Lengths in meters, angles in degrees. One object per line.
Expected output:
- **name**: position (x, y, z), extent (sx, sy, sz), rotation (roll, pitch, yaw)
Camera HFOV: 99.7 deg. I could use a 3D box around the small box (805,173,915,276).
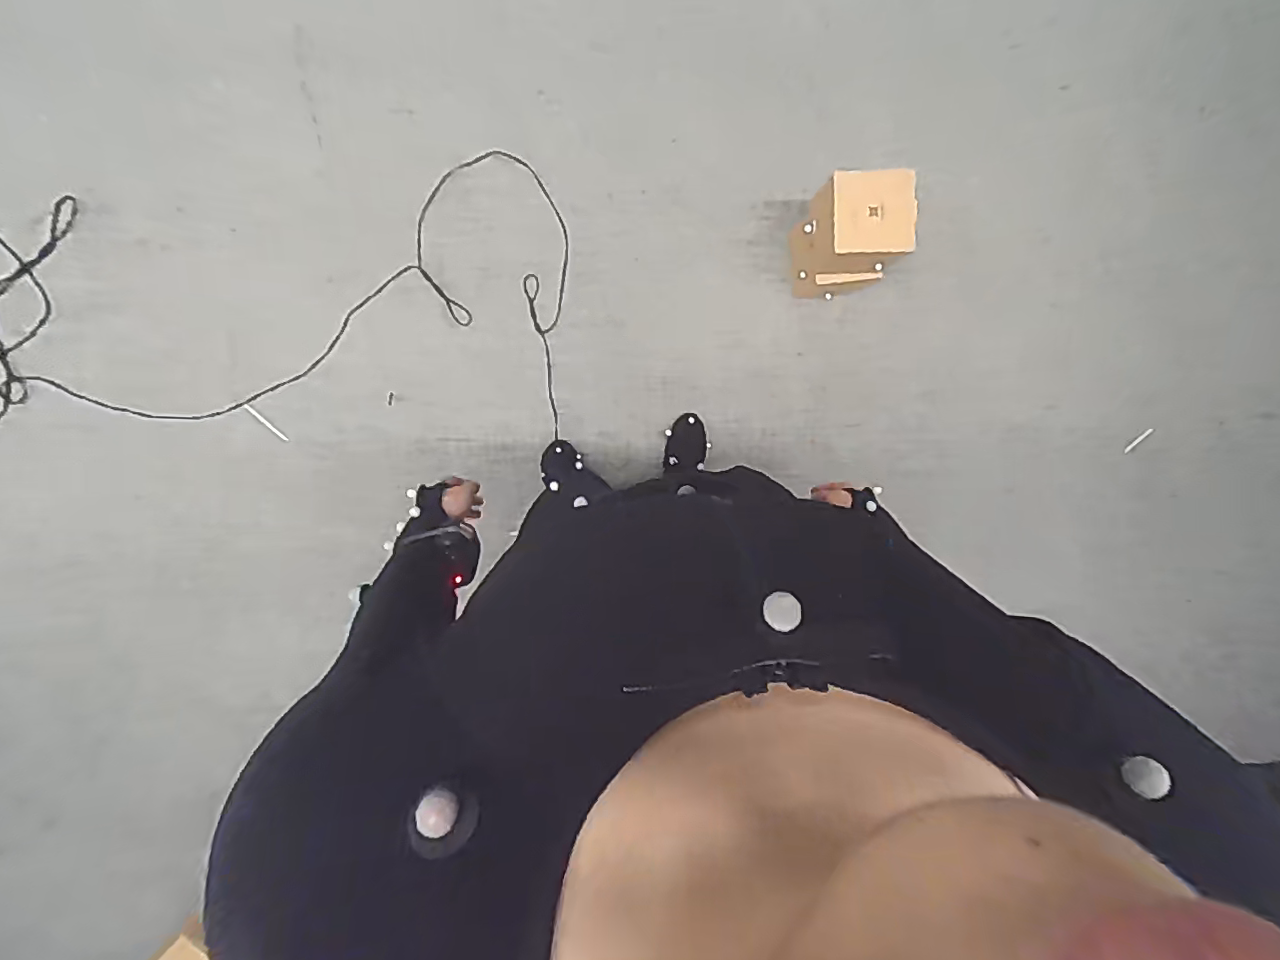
- **small box**: position (0.482, -0.560, 1.201), extent (0.179, 0.176, 0.168), rotation (-3, 96, -2)
